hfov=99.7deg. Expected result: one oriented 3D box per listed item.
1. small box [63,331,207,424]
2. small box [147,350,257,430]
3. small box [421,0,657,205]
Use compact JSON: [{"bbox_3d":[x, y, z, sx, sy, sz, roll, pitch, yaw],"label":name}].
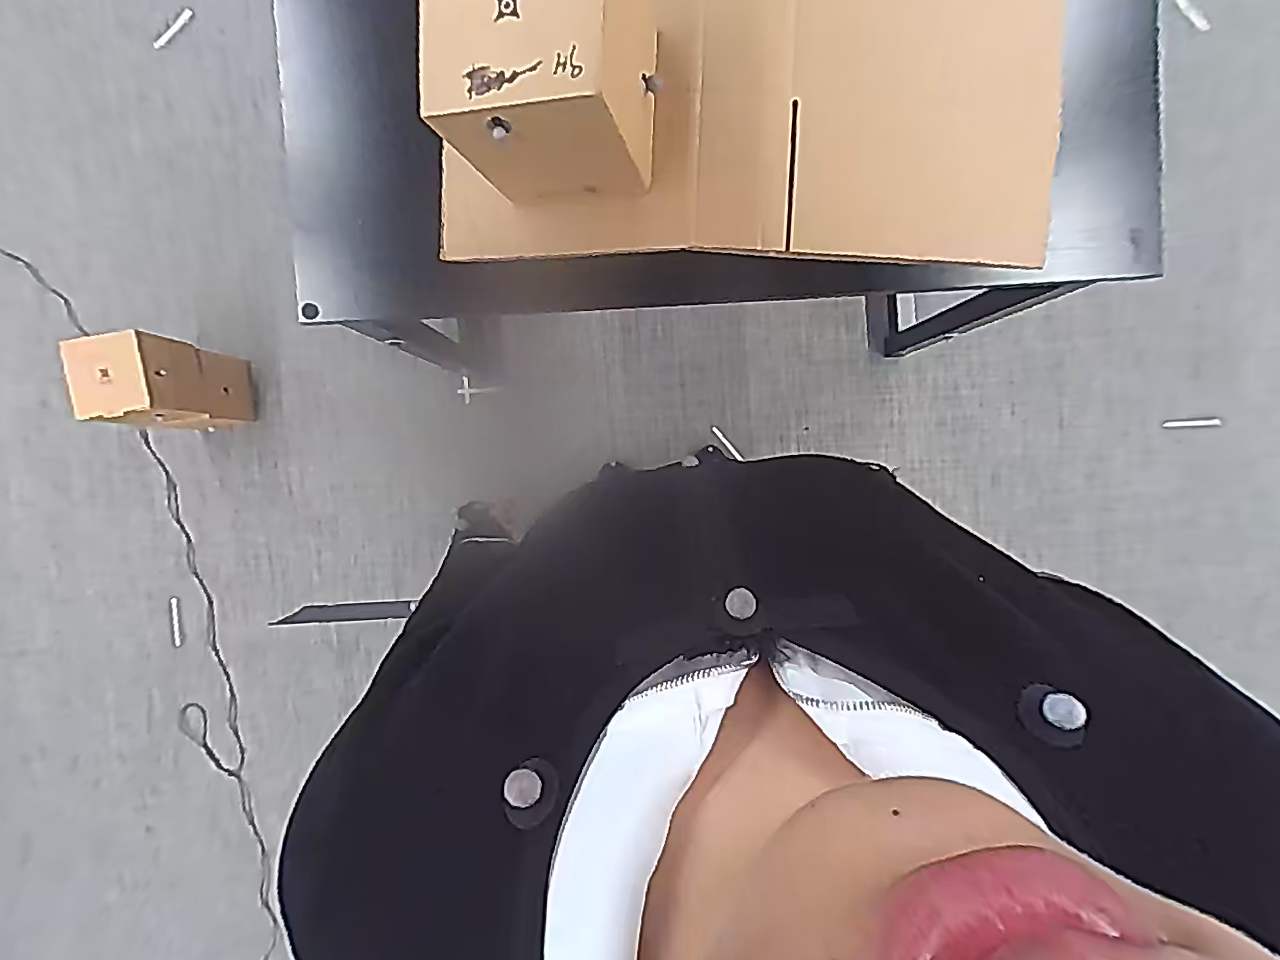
[{"bbox_3d":[-1.147,-0.226,1.245,0.168,0.176,0.179,-10,92,0],"label":"small box"},{"bbox_3d":[-1.145,-0.228,1.408,0.168,0.176,0.179,-7,93,1],"label":"small box"},{"bbox_3d":[-0.083,-0.392,0.514,0.168,0.176,0.179,3,92,15],"label":"small box"}]
